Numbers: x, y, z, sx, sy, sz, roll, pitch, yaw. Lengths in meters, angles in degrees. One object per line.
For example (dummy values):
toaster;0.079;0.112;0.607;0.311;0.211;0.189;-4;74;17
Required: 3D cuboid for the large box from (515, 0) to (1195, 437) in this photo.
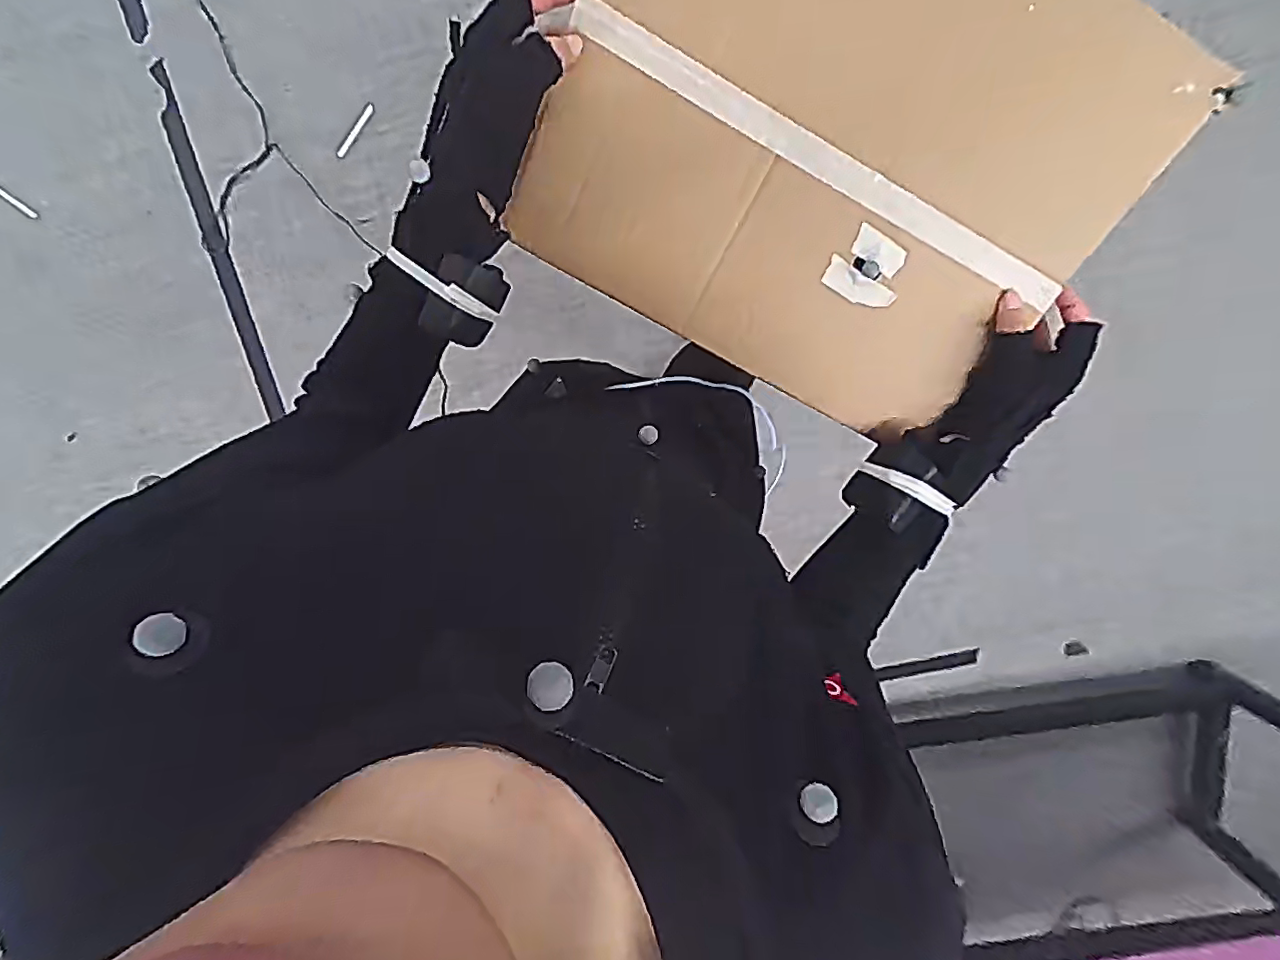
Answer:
large box;0.148;-0.307;0.539;0.408;0.320;0.320;26;117;-8
